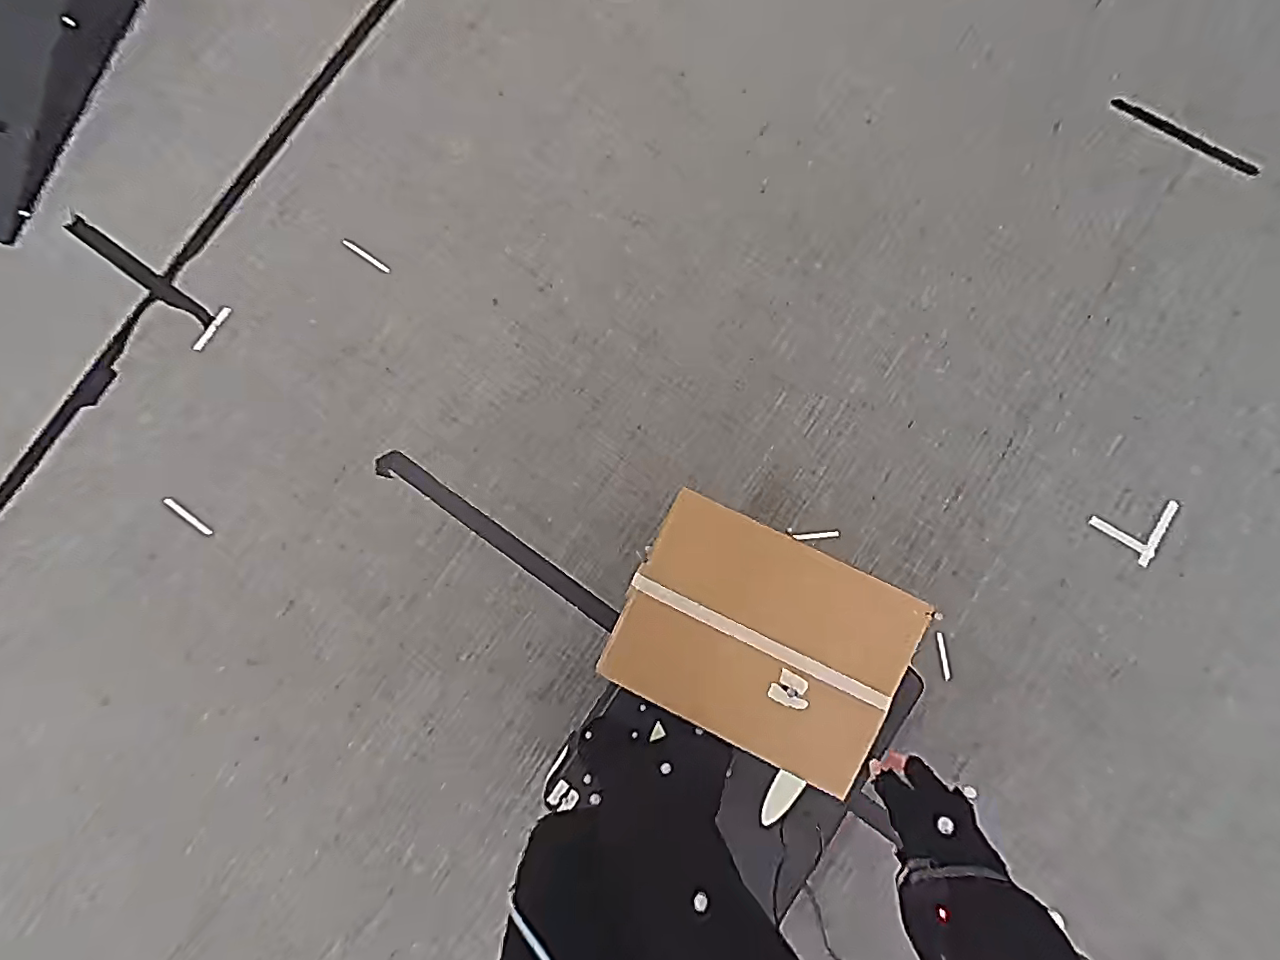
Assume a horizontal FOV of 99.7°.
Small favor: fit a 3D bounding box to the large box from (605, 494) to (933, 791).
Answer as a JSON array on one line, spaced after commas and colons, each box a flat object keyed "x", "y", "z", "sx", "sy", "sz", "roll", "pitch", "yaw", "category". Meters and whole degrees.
[{"x": 0.195, "y": 0.240, "z": 0.949, "sx": 0.408, "sy": 0.320, "sz": 0.320, "roll": 25, "pitch": 92, "yaw": 5, "category": "large box"}]
